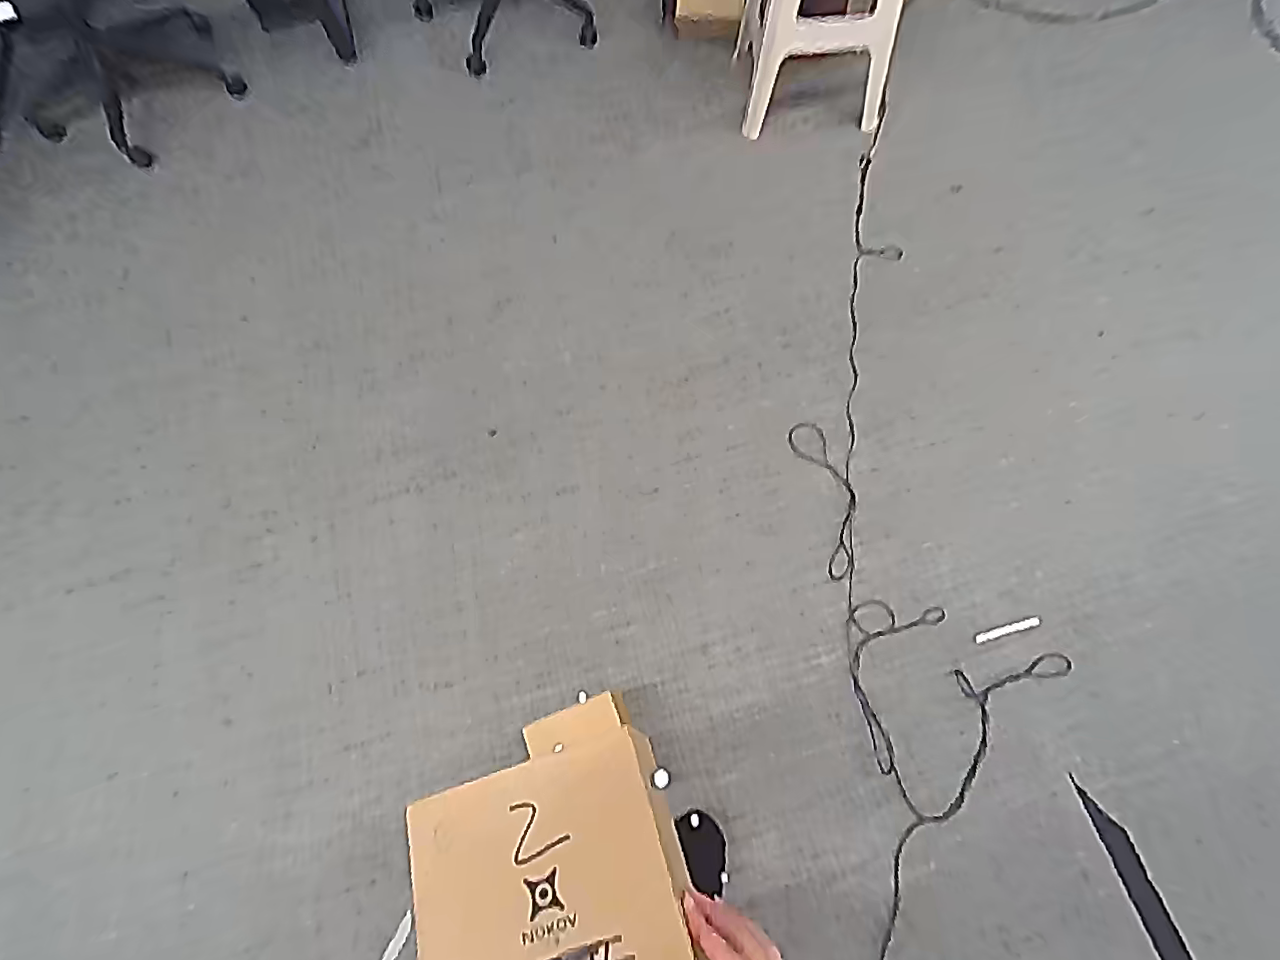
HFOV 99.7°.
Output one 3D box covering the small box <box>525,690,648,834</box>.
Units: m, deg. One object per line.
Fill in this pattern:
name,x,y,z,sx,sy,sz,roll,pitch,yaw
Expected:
small box,-0.091,0.500,0.985,0.168,0.176,0.179,-22,71,-5
